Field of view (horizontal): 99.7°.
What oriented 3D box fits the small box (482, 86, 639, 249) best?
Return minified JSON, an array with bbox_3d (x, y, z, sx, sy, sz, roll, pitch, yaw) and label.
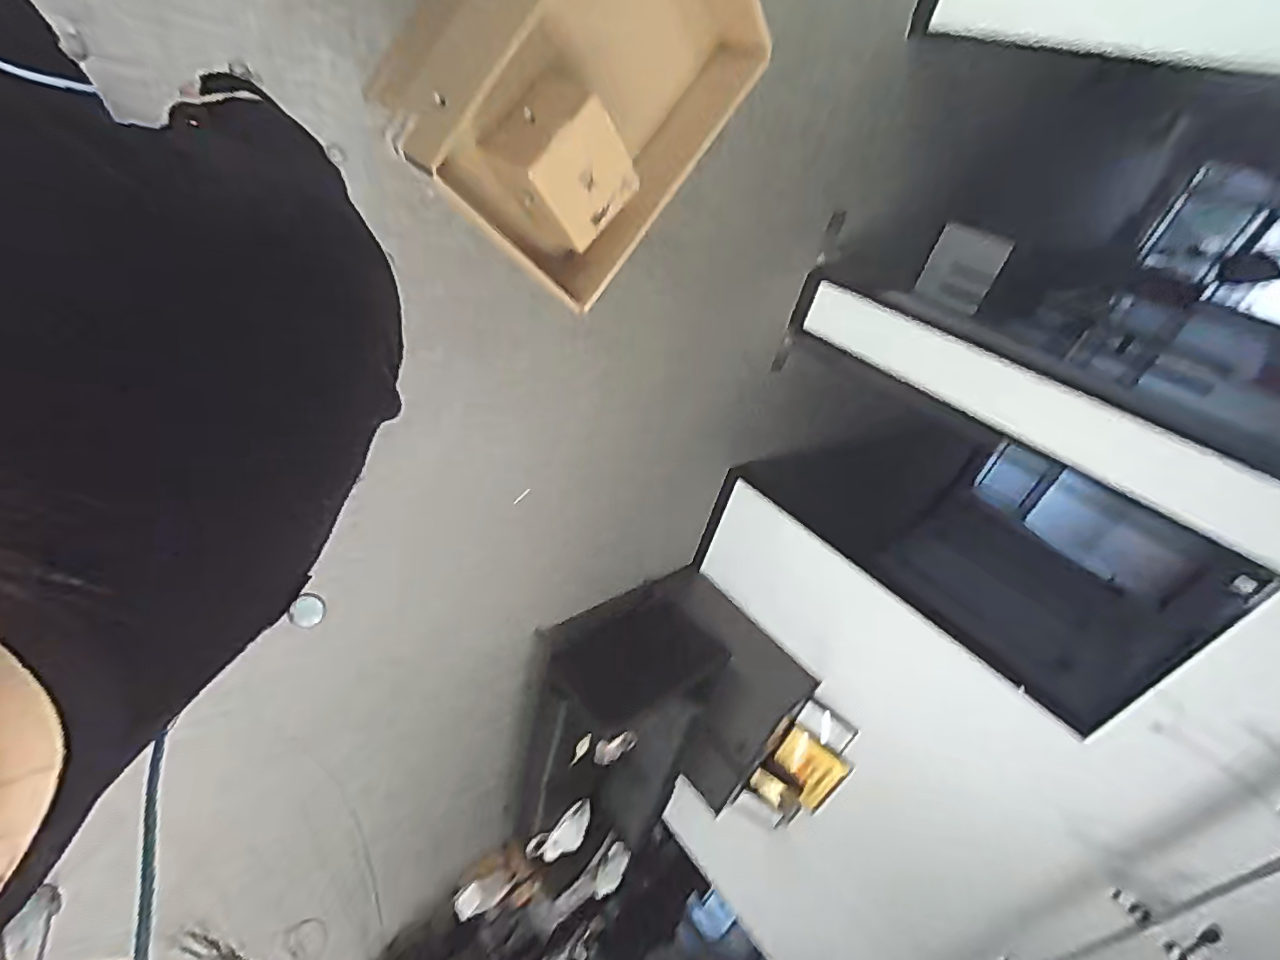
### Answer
[{"bbox_3d":[-0.140,-0.547,0.942,0.168,0.176,0.179,-49,147,1],"label":"small box"}]
